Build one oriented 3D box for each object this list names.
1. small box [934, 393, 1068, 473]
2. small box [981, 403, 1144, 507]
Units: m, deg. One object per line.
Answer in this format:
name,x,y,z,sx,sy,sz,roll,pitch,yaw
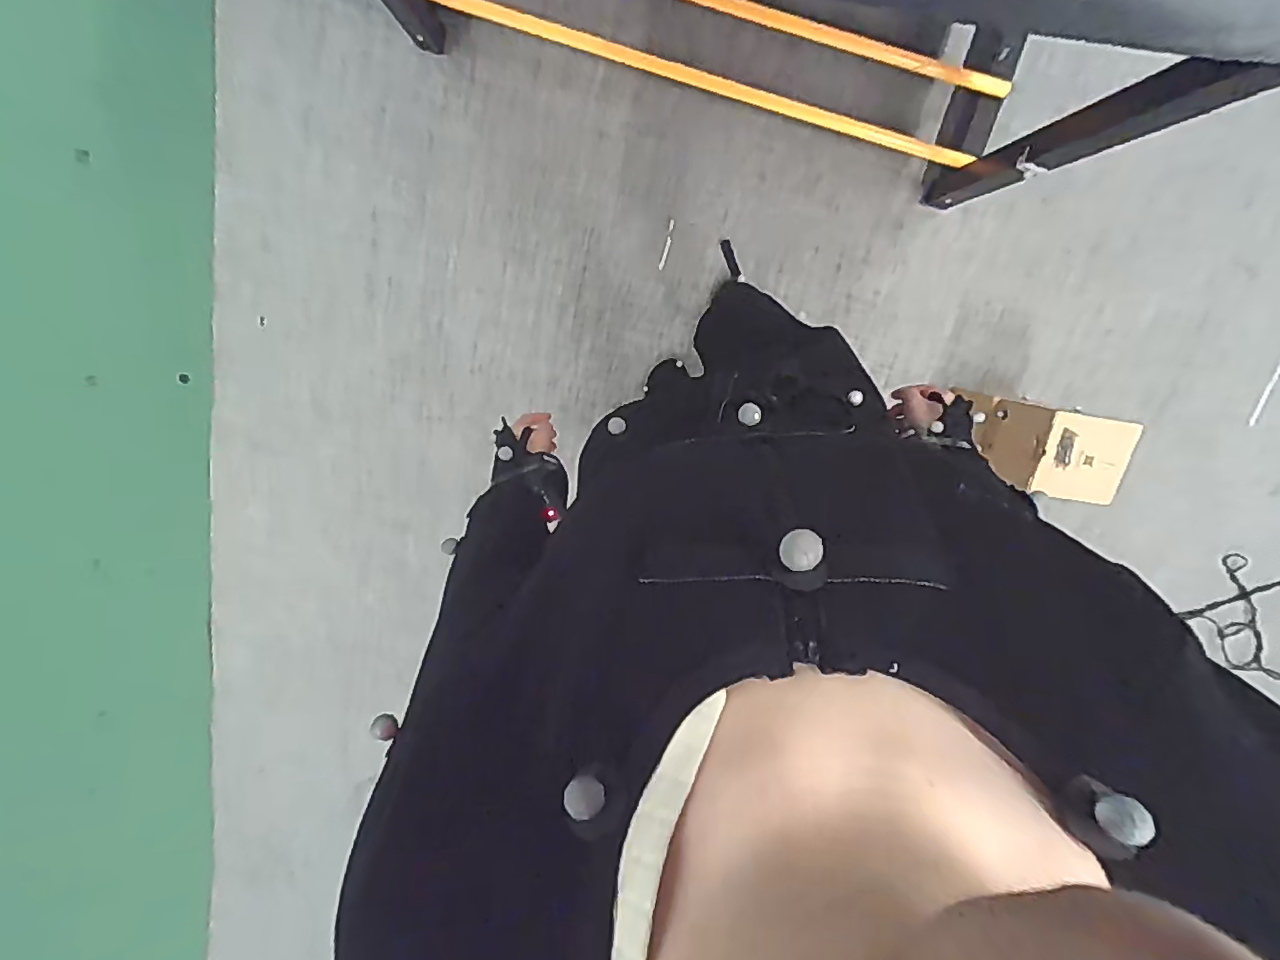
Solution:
small box,0.832,-0.106,1.262,0.179,0.176,0.168,7,105,-3
small box,0.846,-0.058,1.105,0.179,0.176,0.168,8,106,-4
